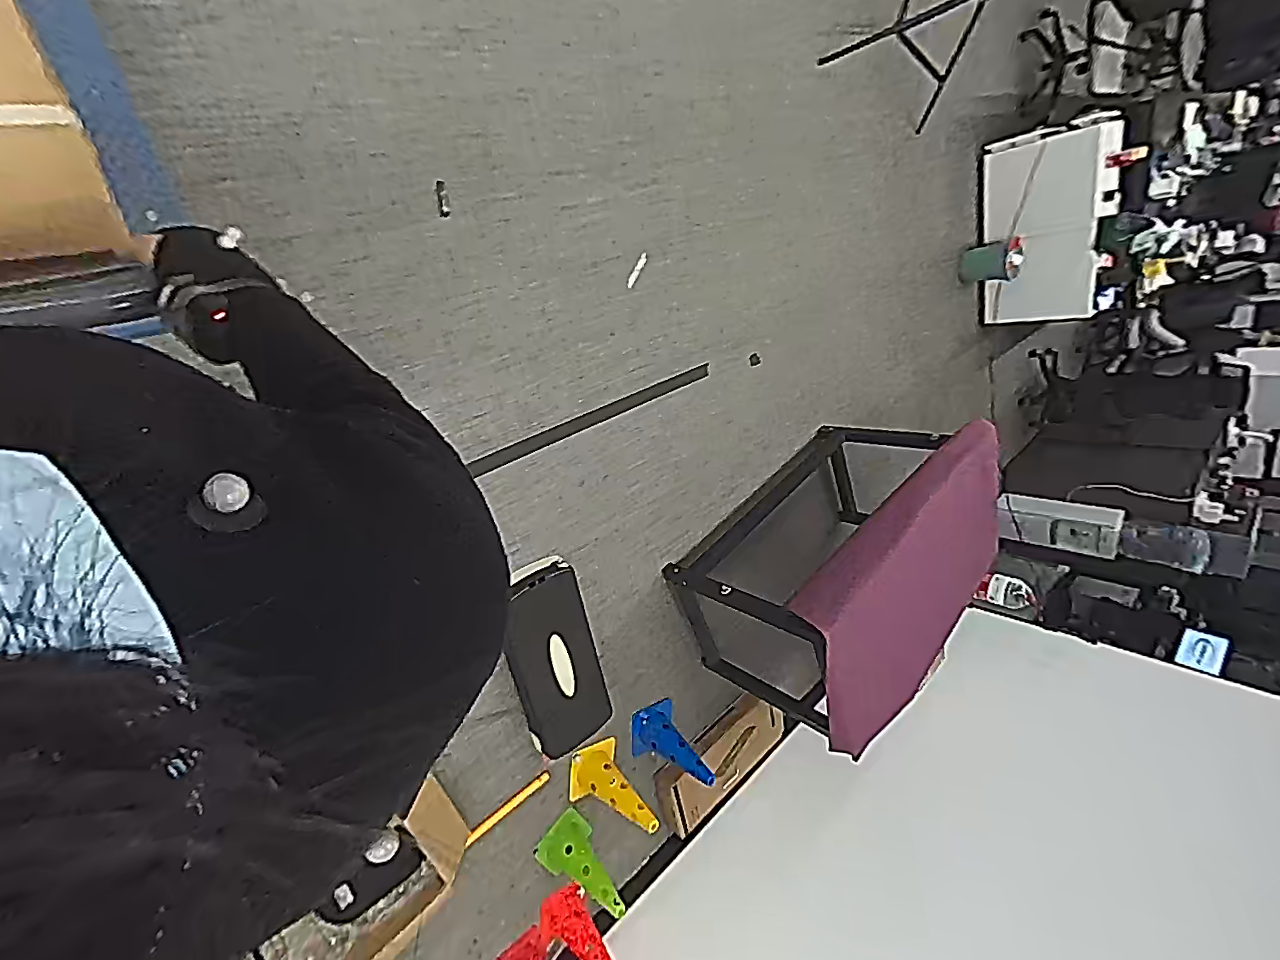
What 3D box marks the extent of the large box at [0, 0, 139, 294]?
[{"bbox_3d":[-0.969,-0.407,0.688,0.408,0.320,0.320,-27,116,-34],"label":"large box"}]
